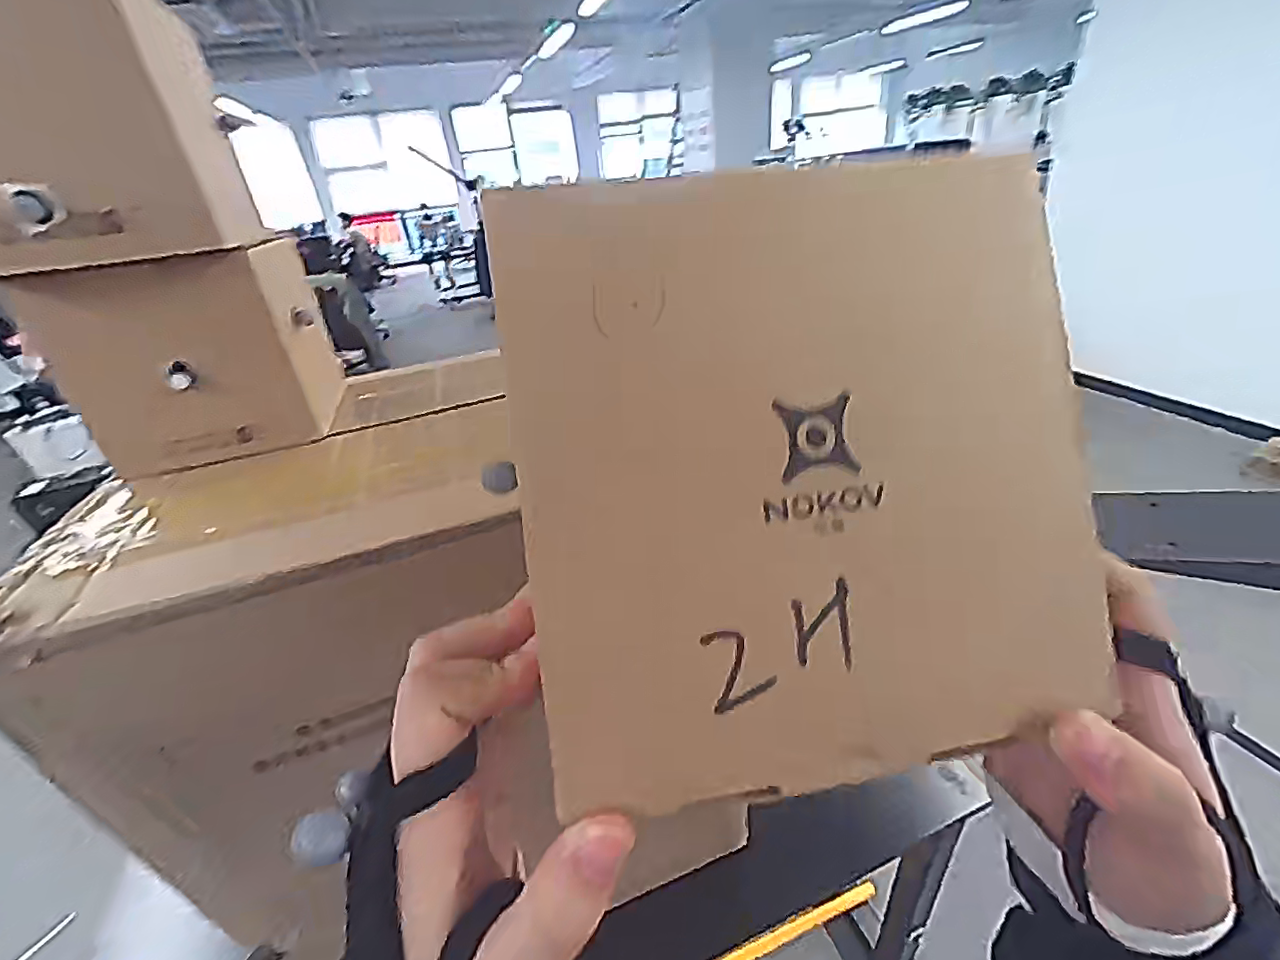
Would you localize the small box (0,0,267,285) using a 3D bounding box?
[{"bbox_3d":[-0.407,-0.248,0.396,0.168,0.176,0.179,-18,32,-17],"label":"small box"}]

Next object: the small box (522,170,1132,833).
[{"bbox_3d":[0.046,0.002,0.232,0.168,0.179,0.176,-6,-1,-6],"label":"small box"}]

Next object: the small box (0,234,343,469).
[{"bbox_3d":[-0.400,-0.123,0.507,0.168,0.176,0.179,-15,31,-15],"label":"small box"}]
